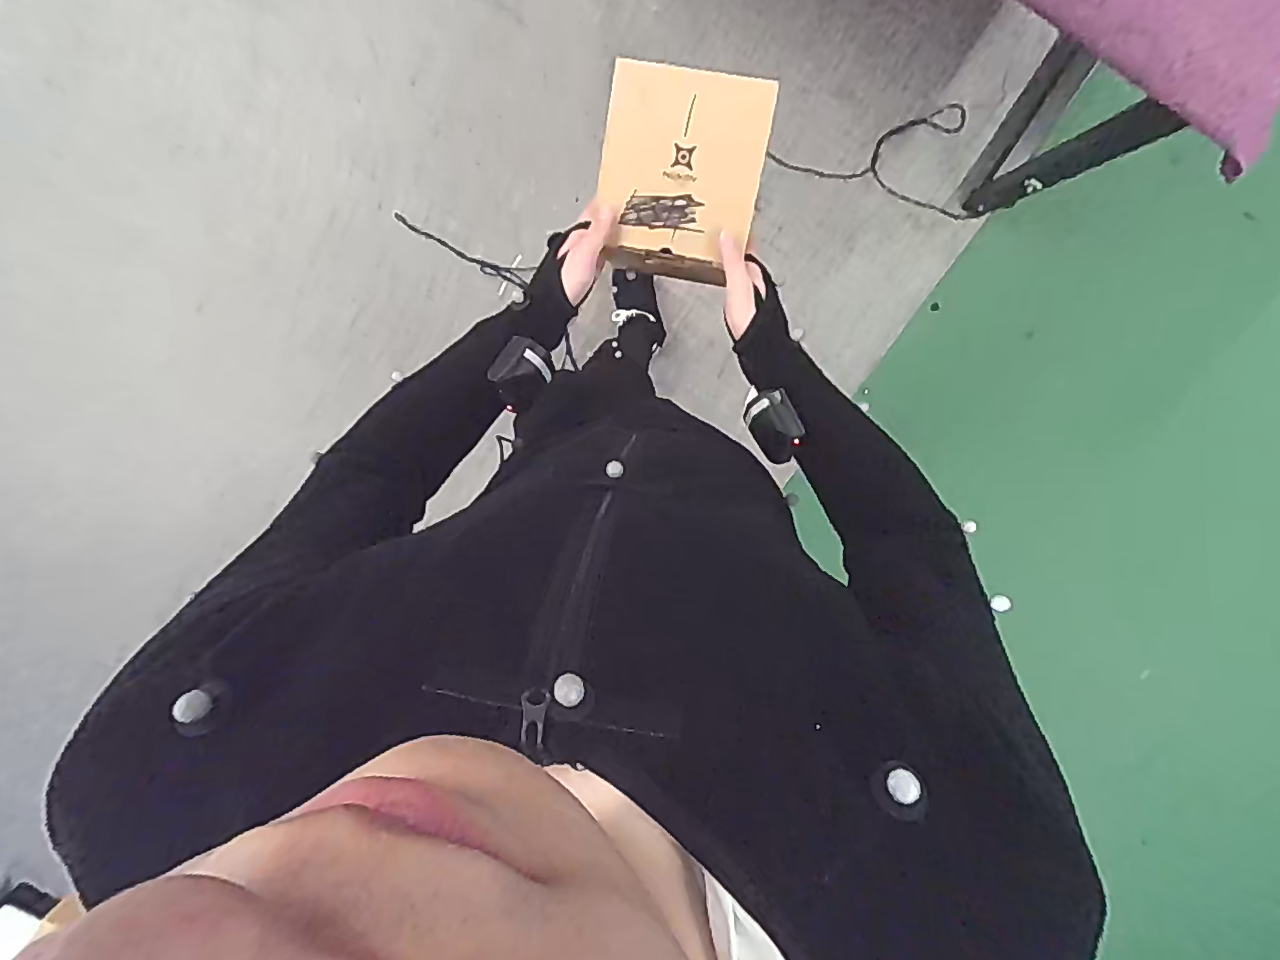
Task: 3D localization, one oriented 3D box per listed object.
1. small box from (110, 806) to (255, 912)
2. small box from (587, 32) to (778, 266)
[{"bbox_3d":[-1.046,0.827,1.251,0.168,0.176,0.179,35,103,-5],"label":"small box"},{"bbox_3d":[0.047,-0.355,0.618,0.168,0.176,0.179,11,104,3],"label":"small box"}]
